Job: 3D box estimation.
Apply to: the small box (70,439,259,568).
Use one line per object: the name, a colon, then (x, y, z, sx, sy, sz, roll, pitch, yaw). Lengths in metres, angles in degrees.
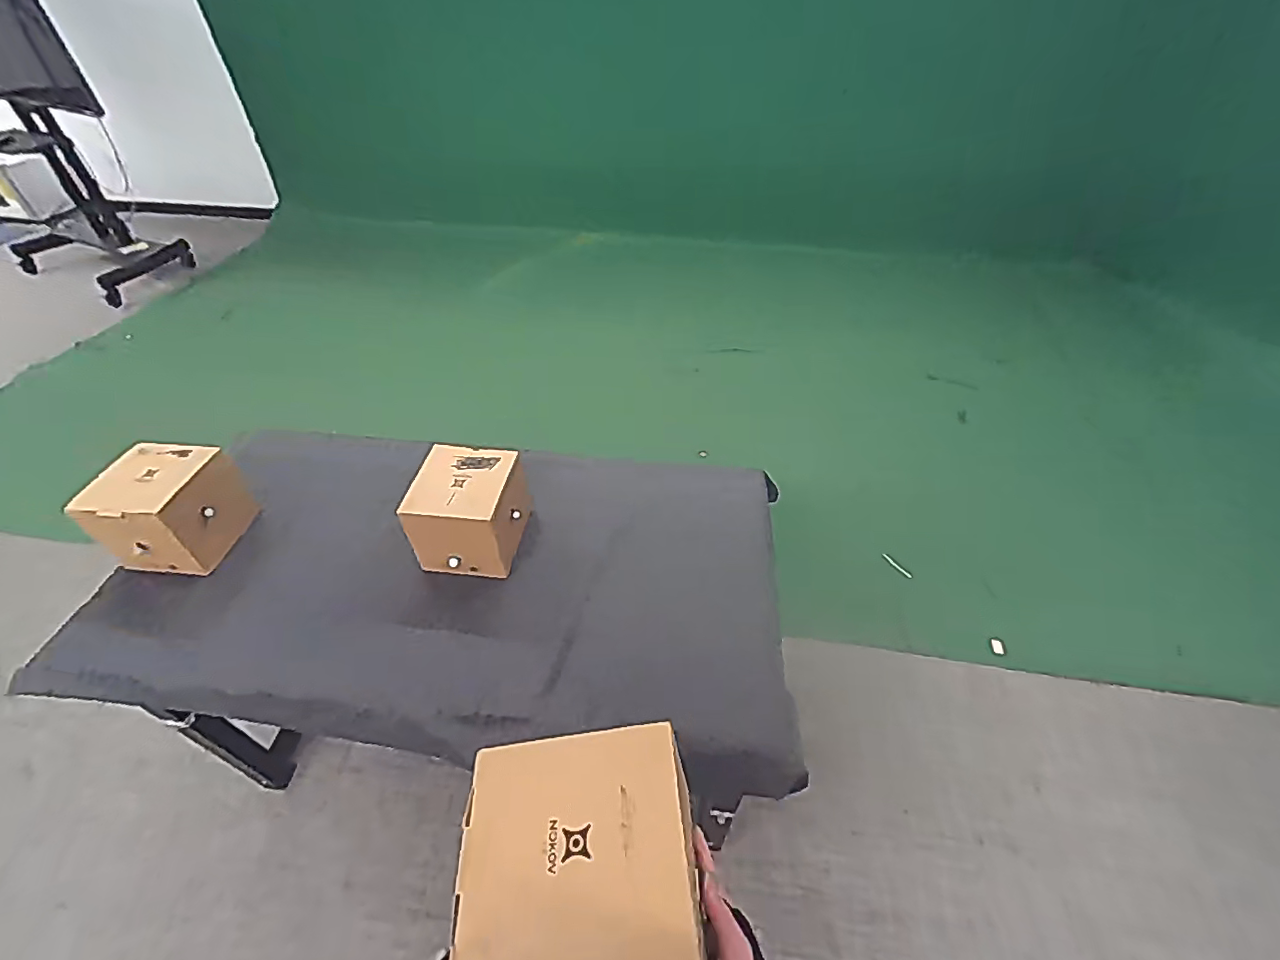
small box: (-0.867, 0.047, 1.013, 0.168, 0.176, 0.179, 4, 45, 2)

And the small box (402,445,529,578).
small box: (-0.314, 0.060, 1.020, 0.168, 0.176, 0.179, 5, 46, 4)

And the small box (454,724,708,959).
small box: (-0.041, 0.343, 0.480, 0.179, 0.176, 0.168, -9, 44, 1)
